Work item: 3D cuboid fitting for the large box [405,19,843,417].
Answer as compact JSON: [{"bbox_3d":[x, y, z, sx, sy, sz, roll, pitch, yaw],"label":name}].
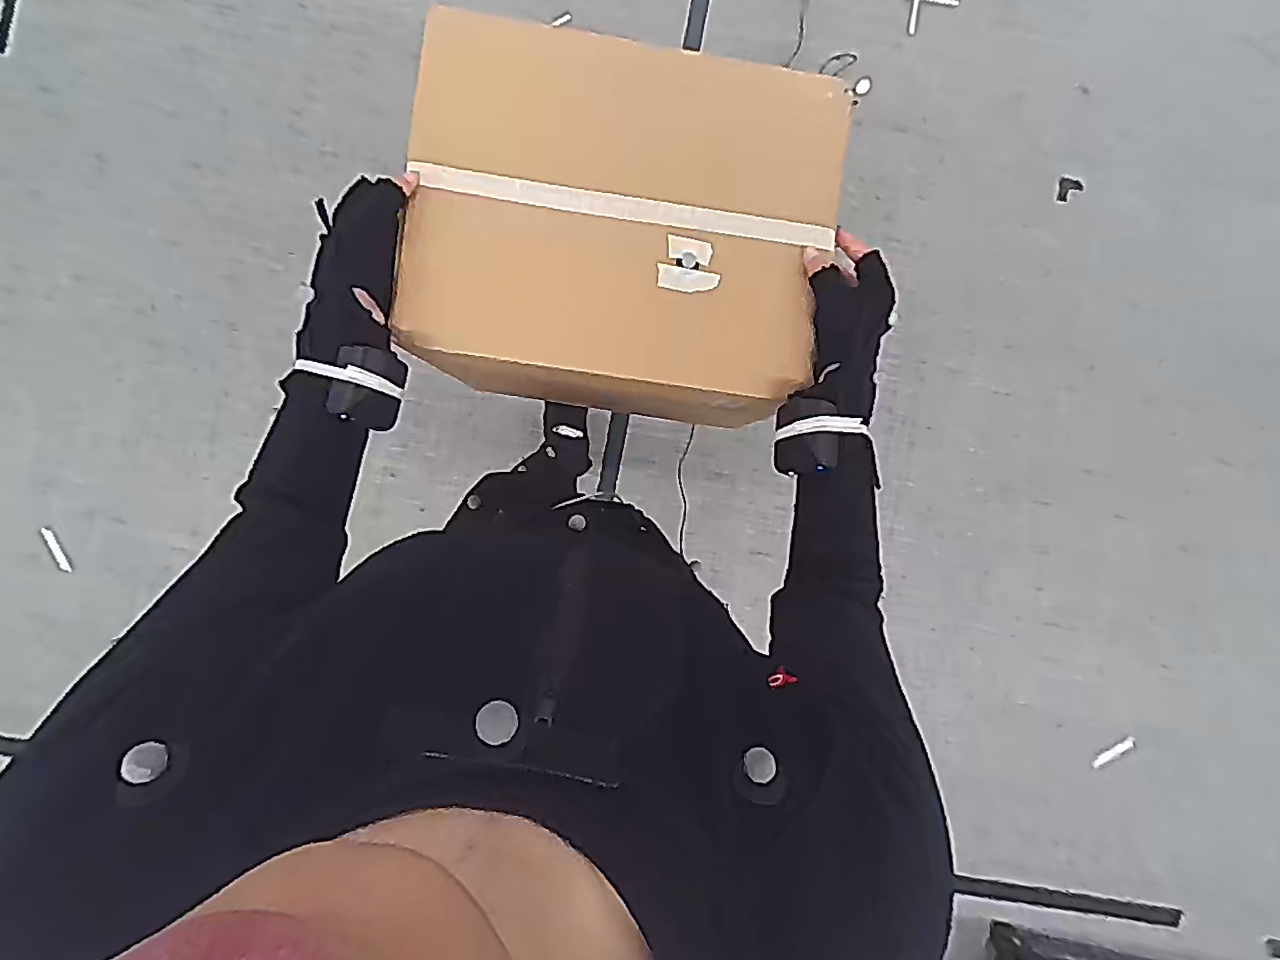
[{"bbox_3d":[-0.023,-0.268,0.674,0.408,0.320,0.320,8,92,-3],"label":"large box"}]
